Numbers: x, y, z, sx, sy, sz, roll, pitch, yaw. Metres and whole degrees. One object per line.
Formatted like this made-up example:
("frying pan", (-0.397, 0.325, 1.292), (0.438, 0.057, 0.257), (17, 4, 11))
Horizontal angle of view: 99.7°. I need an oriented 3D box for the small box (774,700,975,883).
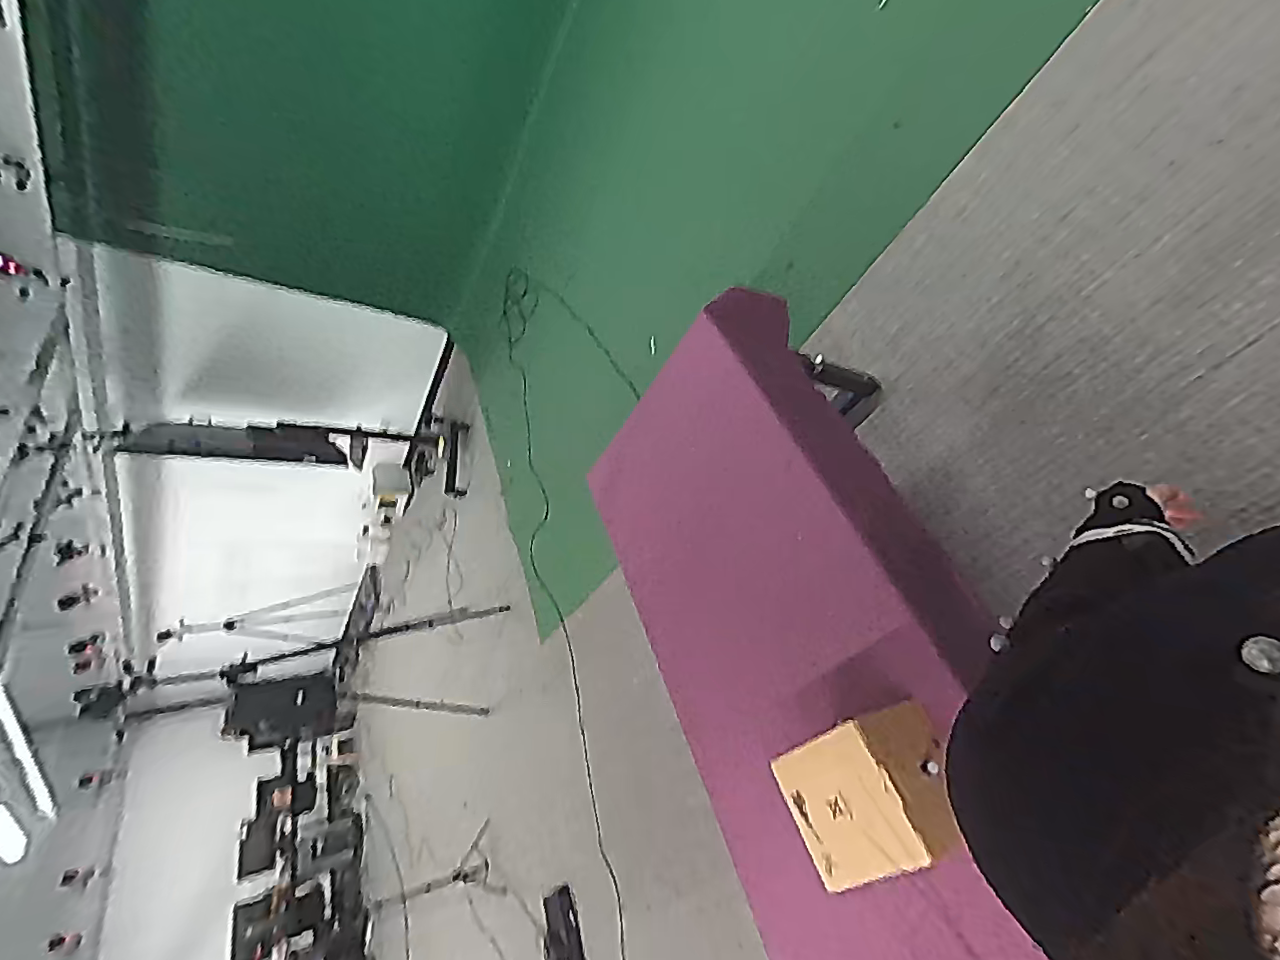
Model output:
("small box", (0.333, 0.429, 0.763), (0.179, 0.176, 0.168), (-52, 47, 36))
